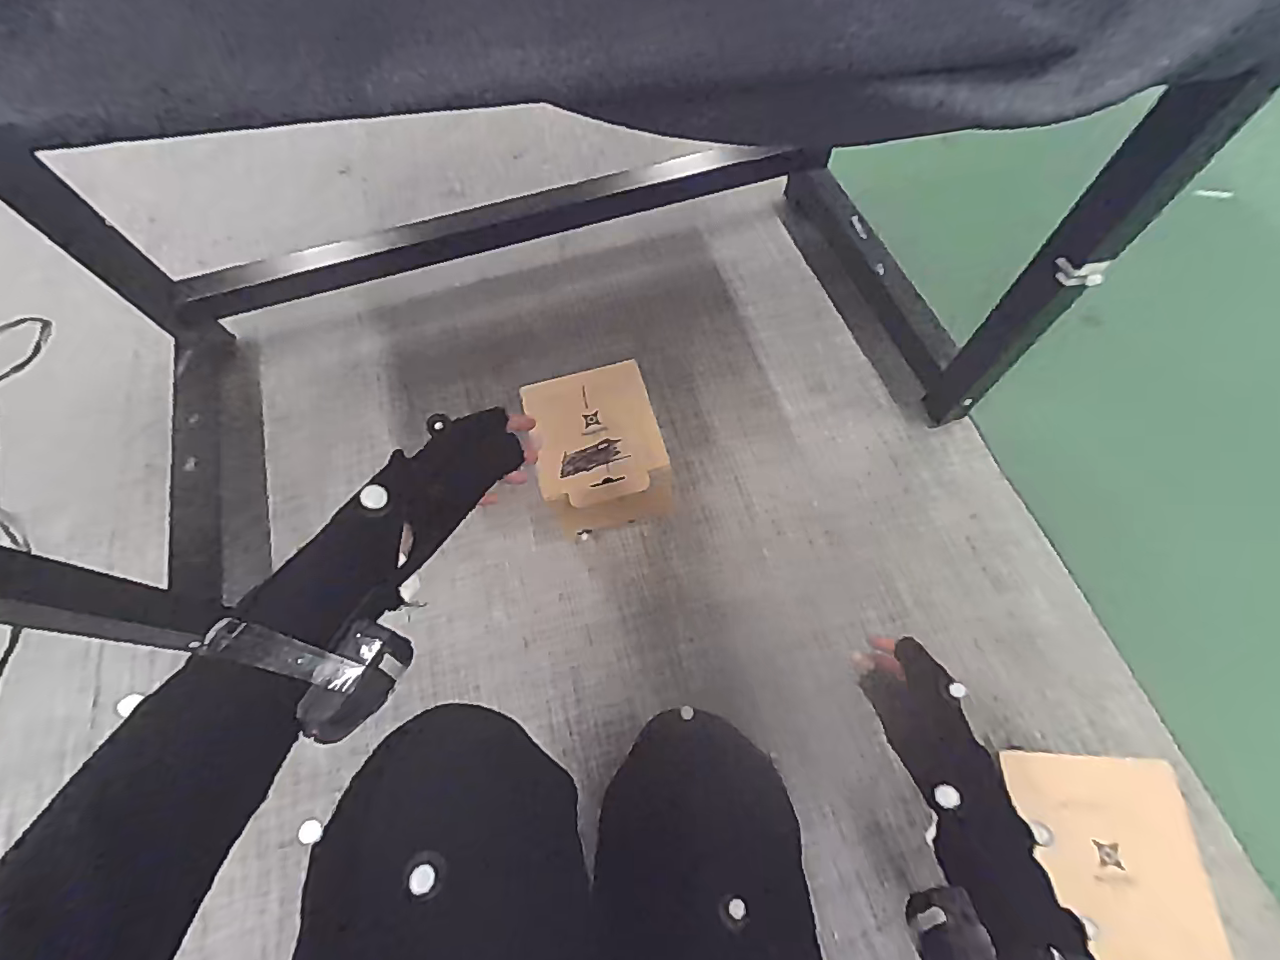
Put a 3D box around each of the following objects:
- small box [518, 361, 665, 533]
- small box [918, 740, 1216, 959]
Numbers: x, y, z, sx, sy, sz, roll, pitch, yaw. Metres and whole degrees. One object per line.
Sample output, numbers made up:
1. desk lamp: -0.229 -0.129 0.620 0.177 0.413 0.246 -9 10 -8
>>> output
1. small box: -0.063 -0.036 0.777 0.168 0.176 0.179 -15 65 -4
2. small box: 0.423 0.379 0.573 0.168 0.176 0.179 2 65 2
